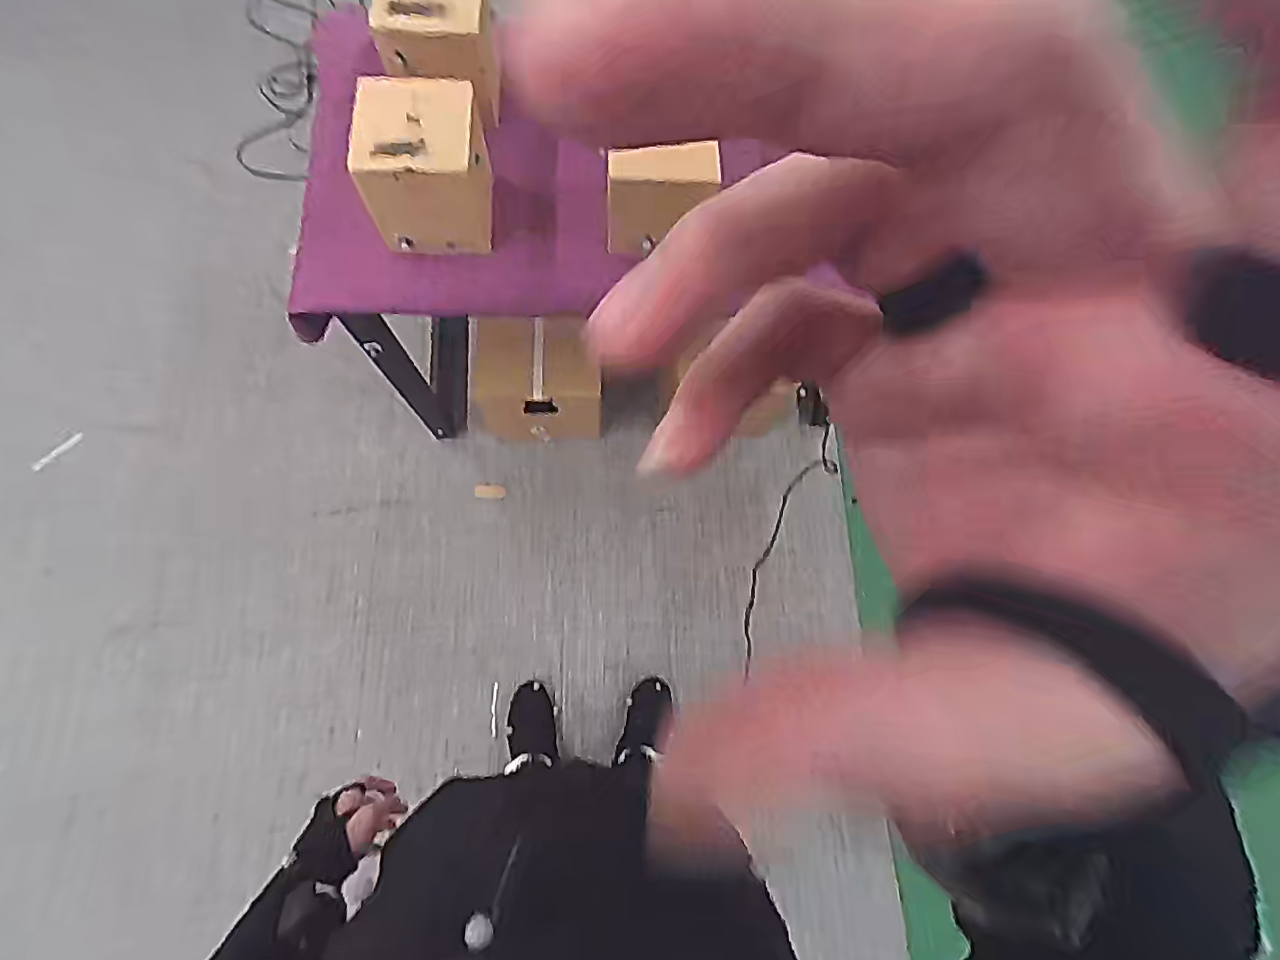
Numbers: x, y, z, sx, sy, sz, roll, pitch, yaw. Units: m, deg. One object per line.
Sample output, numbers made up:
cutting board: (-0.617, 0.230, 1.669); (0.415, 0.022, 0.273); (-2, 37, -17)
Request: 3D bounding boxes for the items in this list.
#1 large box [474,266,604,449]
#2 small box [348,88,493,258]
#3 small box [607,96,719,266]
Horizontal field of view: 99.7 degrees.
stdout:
large box: (-0.264, -0.327, 1.509); (0.320, 0.320, 0.408); (-1, 72, -5)
small box: (-0.332, -0.474, 0.854); (0.168, 0.176, 0.179); (-2, 71, -5)
small box: (0.030, -0.479, 0.881); (0.168, 0.176, 0.179); (0, 72, -3)
